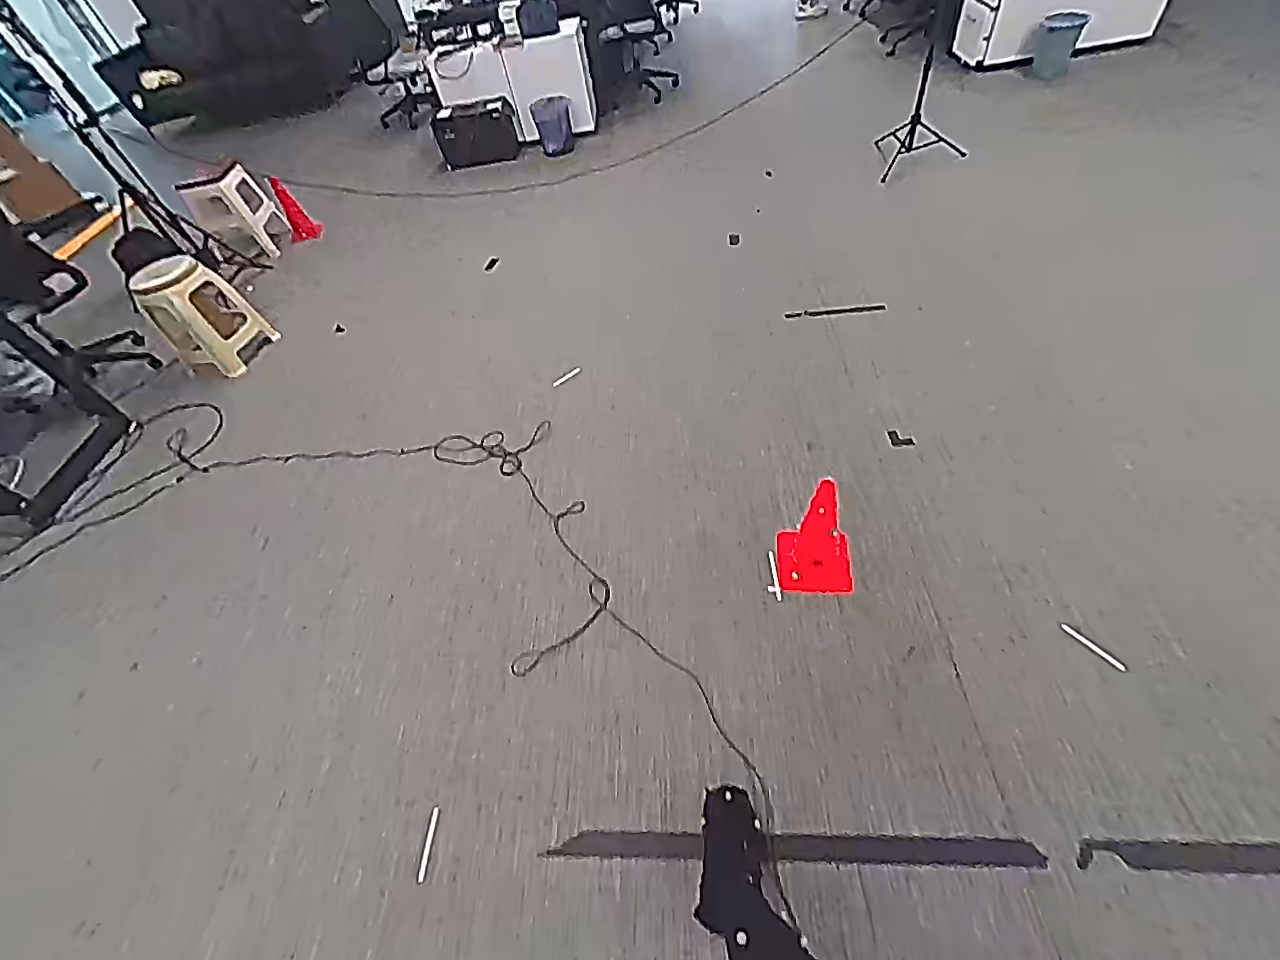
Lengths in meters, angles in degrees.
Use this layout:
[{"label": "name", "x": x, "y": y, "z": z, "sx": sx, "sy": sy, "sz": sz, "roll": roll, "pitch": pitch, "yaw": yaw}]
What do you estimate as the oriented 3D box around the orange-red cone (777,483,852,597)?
[{"label": "orange-red cone", "x": 0.468, "y": 0.129, "z": 1.399, "sx": 0.199, "sy": 0.360, "sz": 0.198, "roll": 2, "pitch": 52, "yaw": 11}]
